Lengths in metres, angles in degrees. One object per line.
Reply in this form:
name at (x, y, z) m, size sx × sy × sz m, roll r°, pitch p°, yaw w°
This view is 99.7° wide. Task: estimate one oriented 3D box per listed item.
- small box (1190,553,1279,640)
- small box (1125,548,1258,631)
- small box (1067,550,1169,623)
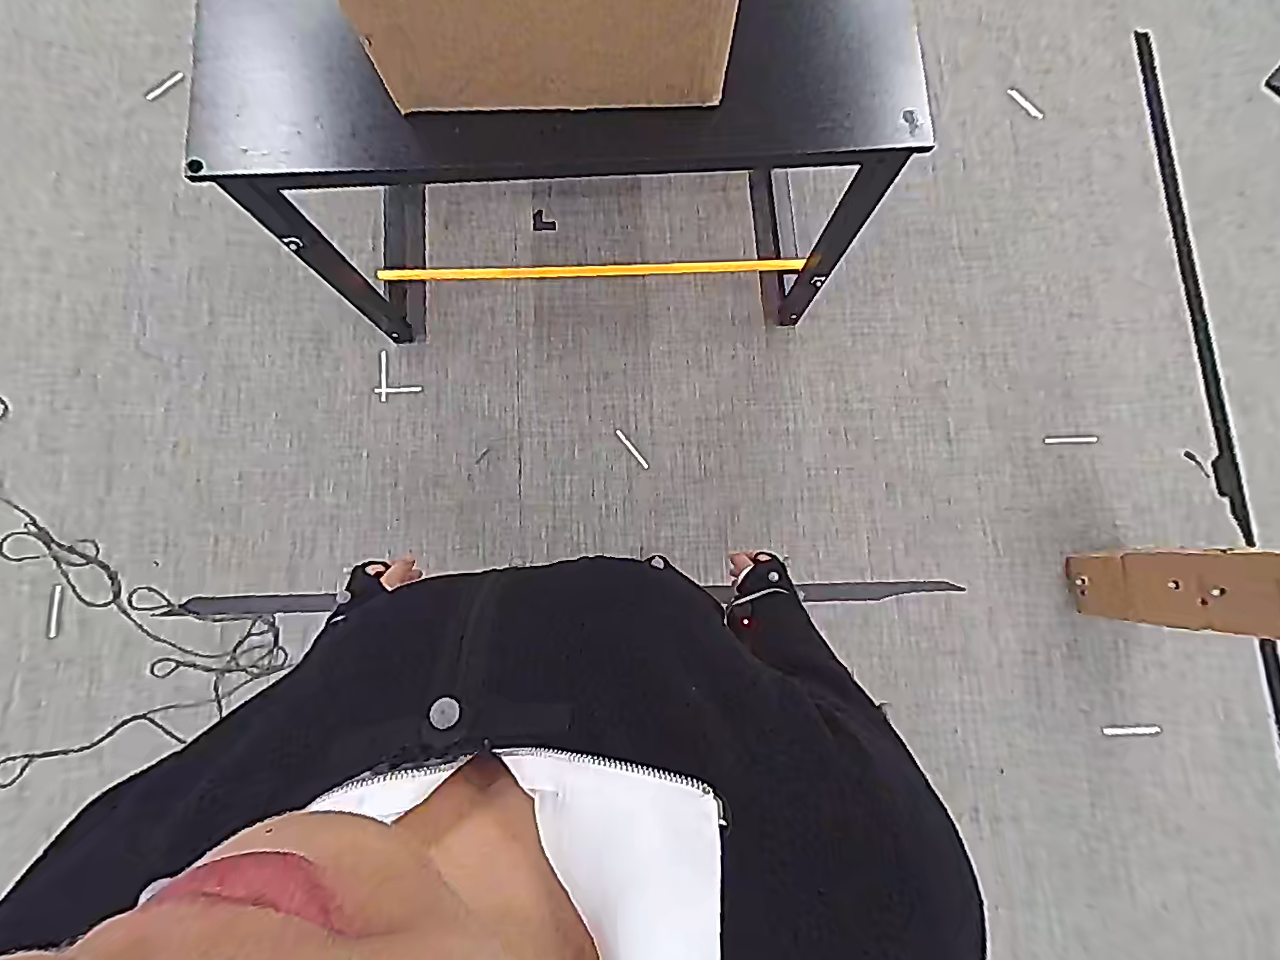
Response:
small box at (1.294, 0.233, 1.100) m, size 0.179 × 0.176 × 0.168 m, roll 0°, pitch 82°, yaw 0°
small box at (1.290, 0.252, 1.264) m, size 0.168 × 0.176 × 0.179 m, roll -3°, pitch 82°, yaw -1°
small box at (1.288, 0.275, 1.427) m, size 0.179 × 0.176 × 0.168 m, roll -7°, pitch 82°, yaw 0°
